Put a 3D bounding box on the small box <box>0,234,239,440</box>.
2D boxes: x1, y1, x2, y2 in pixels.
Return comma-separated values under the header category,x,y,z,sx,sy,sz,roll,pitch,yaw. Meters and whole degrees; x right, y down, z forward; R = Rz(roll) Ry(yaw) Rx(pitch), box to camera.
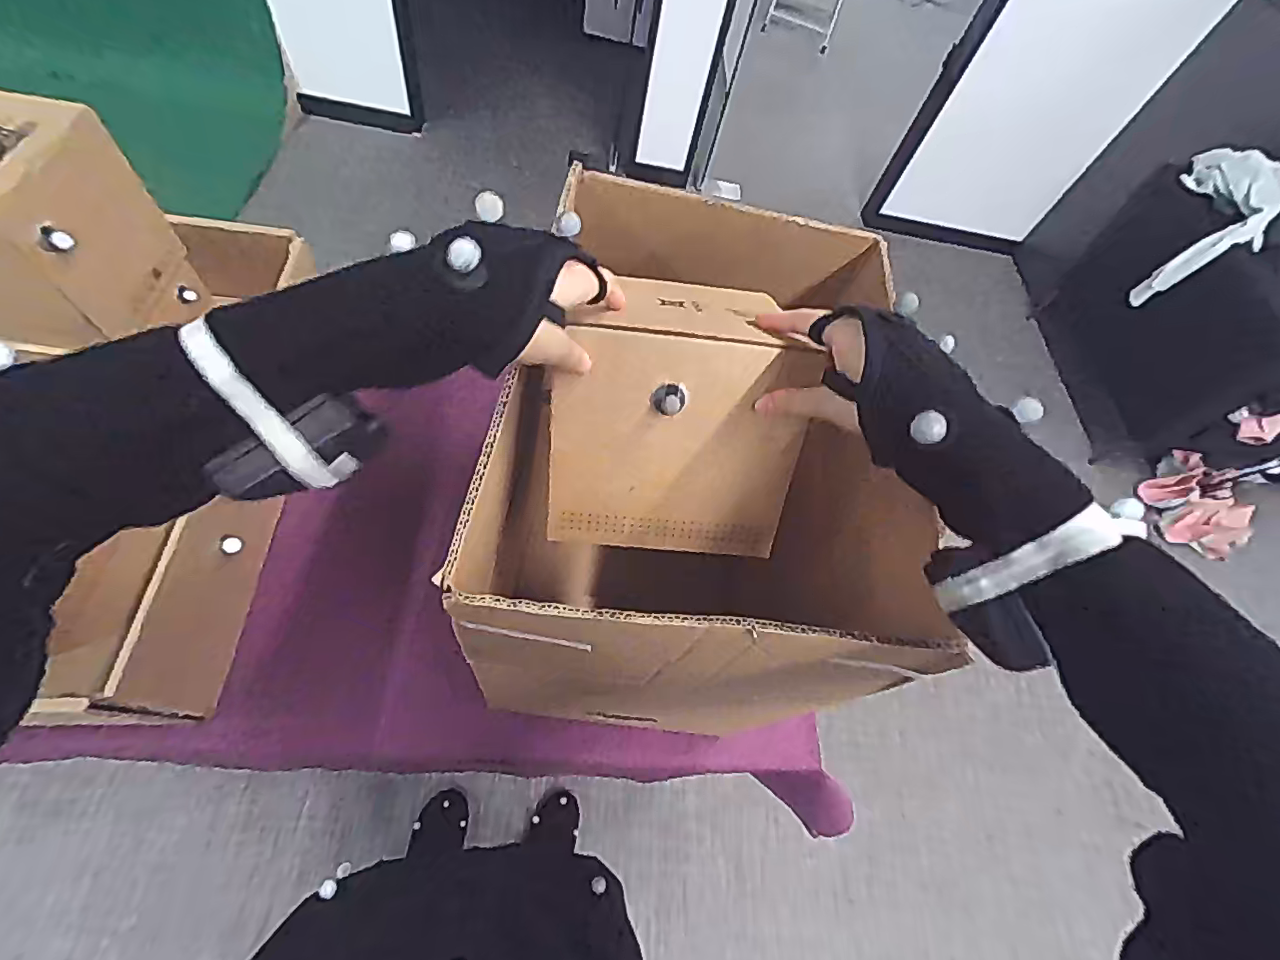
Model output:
category,x,y,z,sx,sy,sz,roll,pitch,yaw
small box,-0.651,-0.169,0.677,0.168,0.176,0.179,7,60,-7
